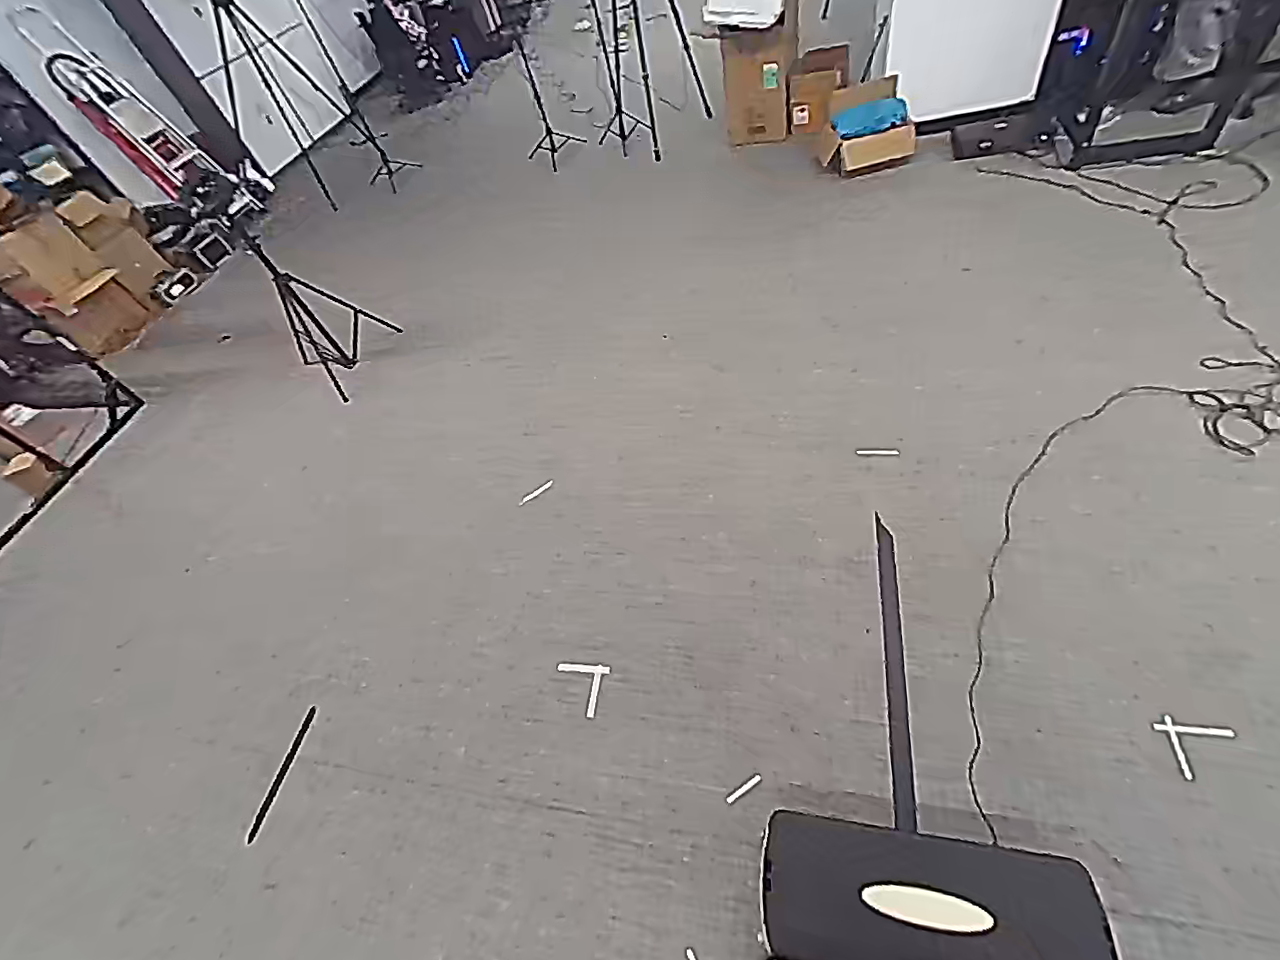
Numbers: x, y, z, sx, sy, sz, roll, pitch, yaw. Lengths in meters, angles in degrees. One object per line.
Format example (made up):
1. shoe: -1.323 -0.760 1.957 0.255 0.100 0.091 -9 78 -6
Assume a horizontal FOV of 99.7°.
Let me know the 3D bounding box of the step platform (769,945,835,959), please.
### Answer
1. step platform: 0.568 1.099 0.982 0.684 0.204 0.286 -2 51 17
